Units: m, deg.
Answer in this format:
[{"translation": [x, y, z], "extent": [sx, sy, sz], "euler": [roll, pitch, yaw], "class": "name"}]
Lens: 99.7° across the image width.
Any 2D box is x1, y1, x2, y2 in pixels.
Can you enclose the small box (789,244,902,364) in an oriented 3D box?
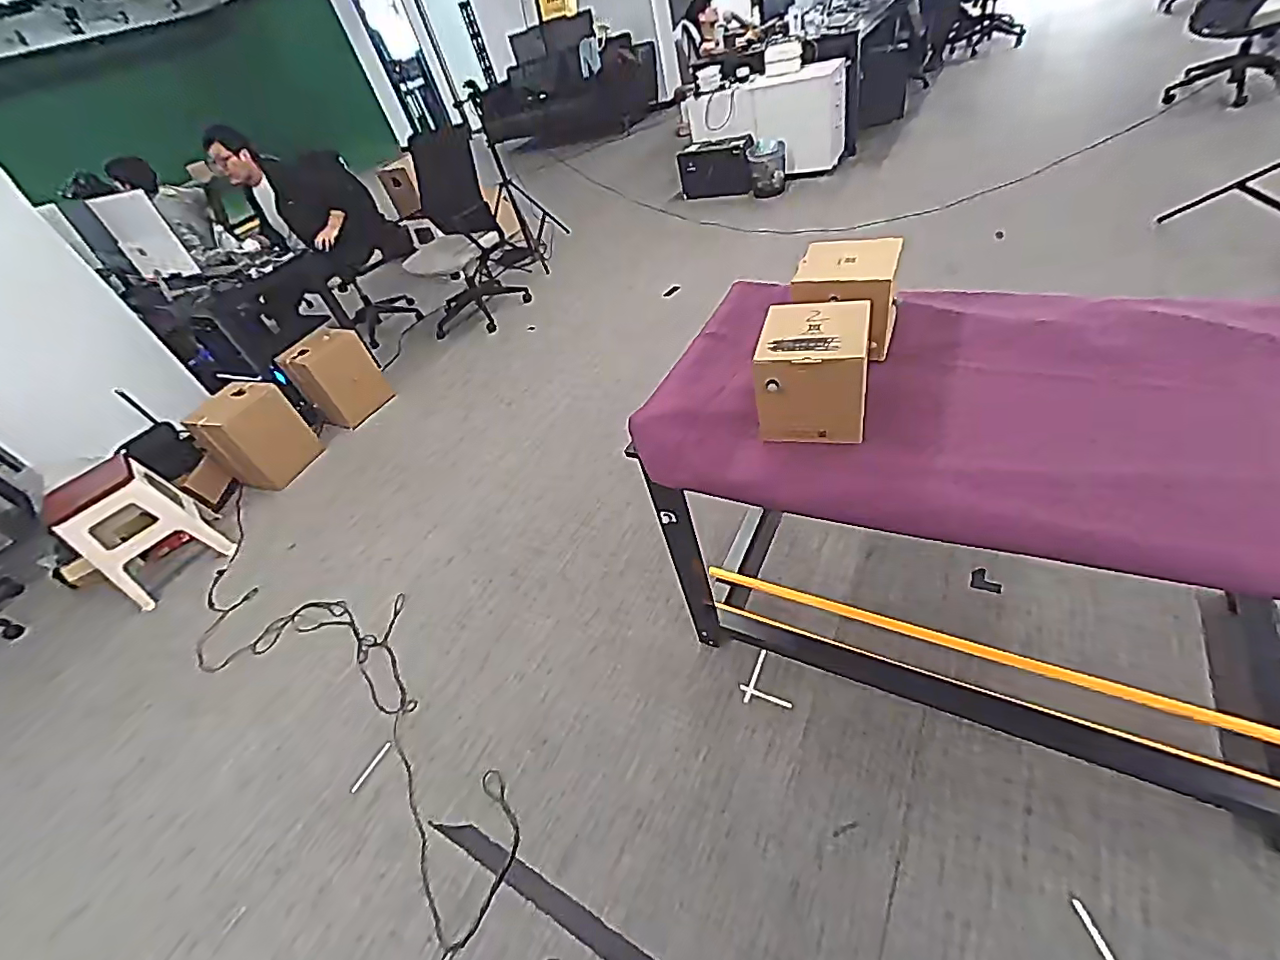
[{"translation": [0.404, -0.344, 1.066], "extent": [0.179, 0.176, 0.168], "euler": [9, 49, 27], "class": "small box"}]
